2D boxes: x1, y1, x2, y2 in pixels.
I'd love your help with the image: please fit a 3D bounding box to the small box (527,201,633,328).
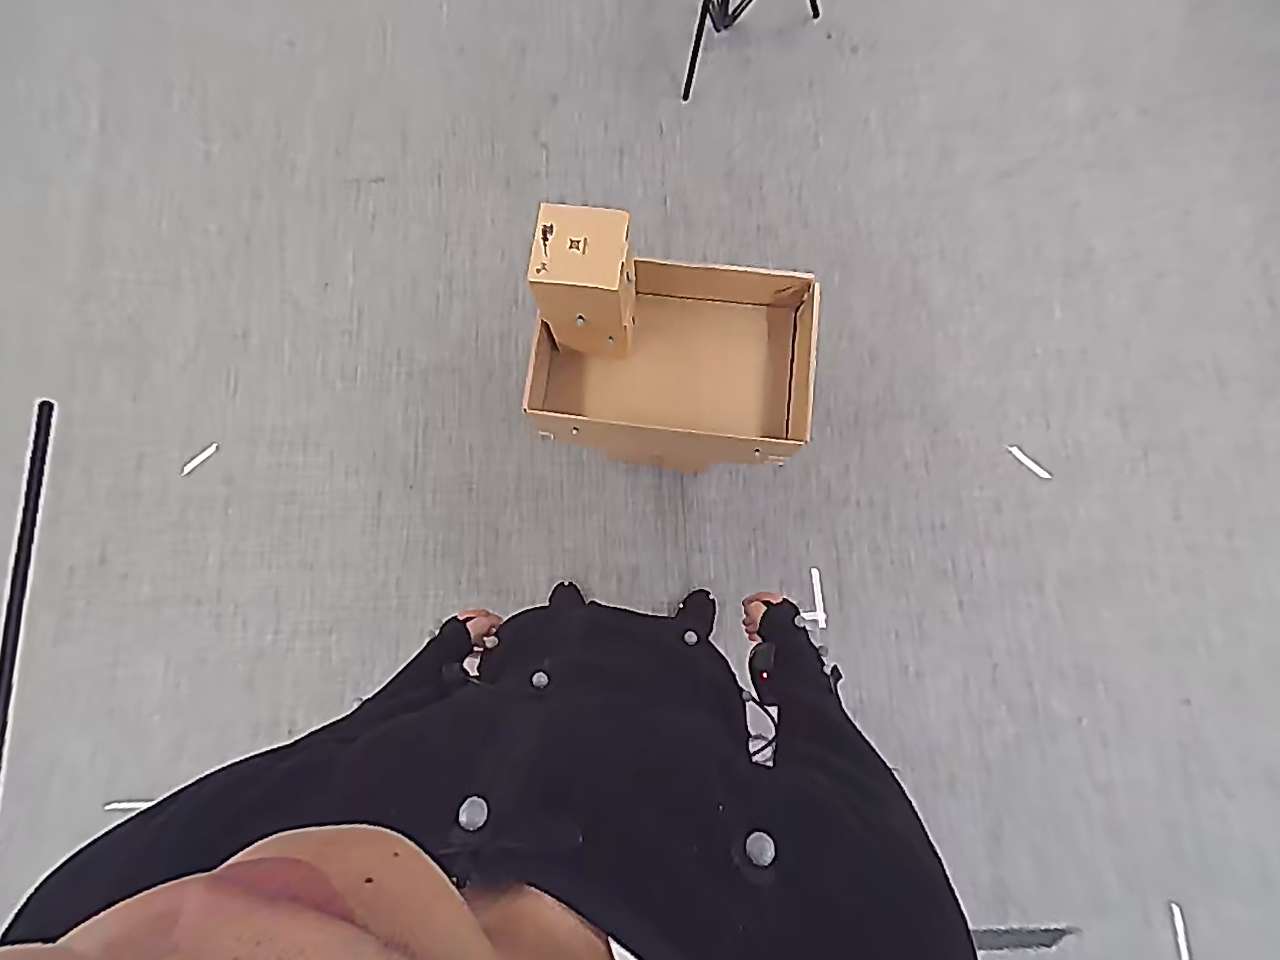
[{"bbox_3d":[-0.111,-0.419,1.079,0.179,0.176,0.168,8,80,2],"label":"small box"}]
